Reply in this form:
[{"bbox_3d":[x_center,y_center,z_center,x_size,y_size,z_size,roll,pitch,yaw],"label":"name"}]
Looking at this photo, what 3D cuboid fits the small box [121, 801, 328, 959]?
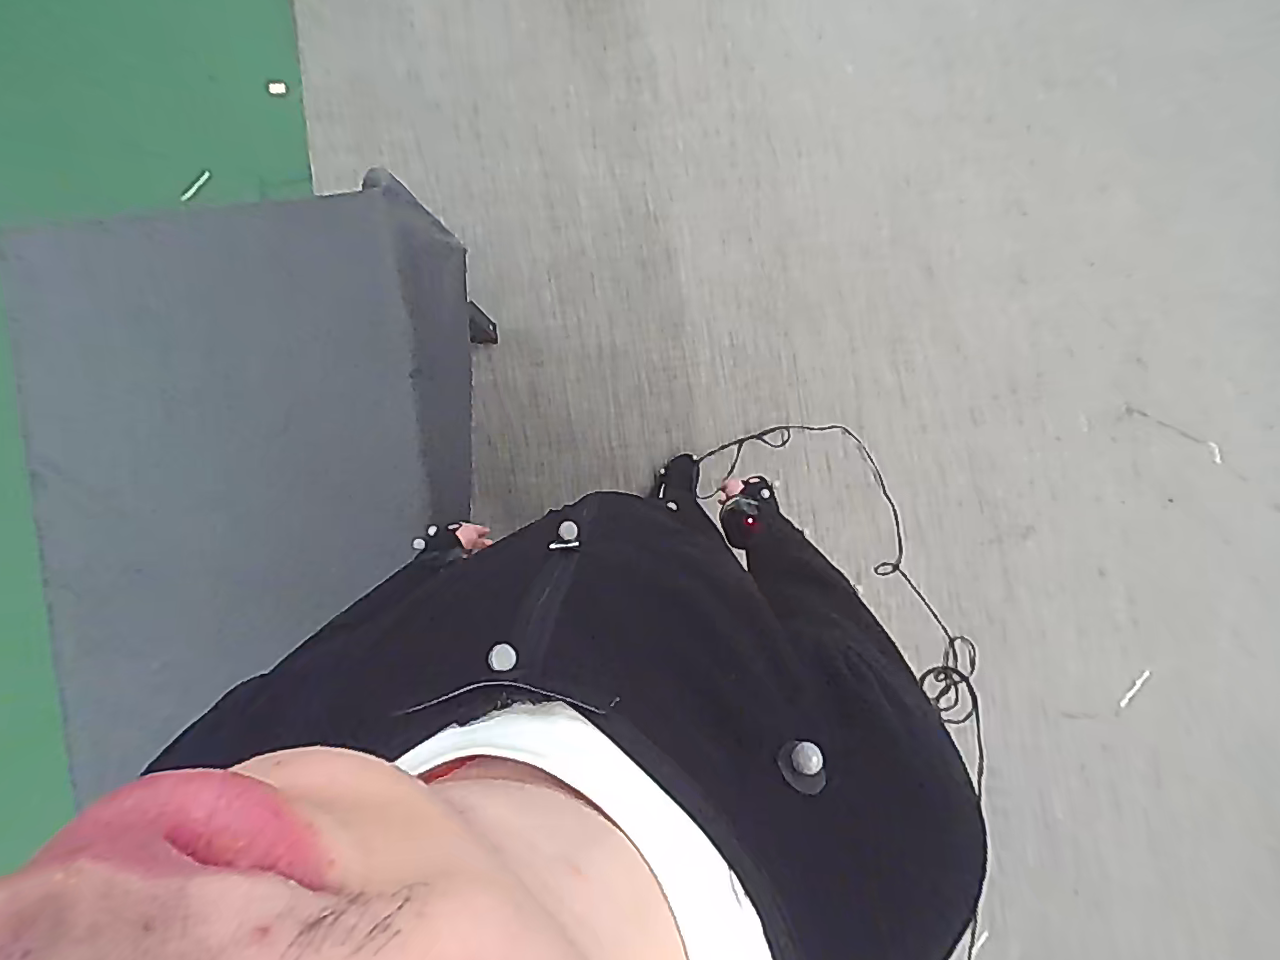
[{"bbox_3d":[-0.582,0.592,0.779,0.168,0.176,0.179,-7,90,0],"label":"small box"}]
